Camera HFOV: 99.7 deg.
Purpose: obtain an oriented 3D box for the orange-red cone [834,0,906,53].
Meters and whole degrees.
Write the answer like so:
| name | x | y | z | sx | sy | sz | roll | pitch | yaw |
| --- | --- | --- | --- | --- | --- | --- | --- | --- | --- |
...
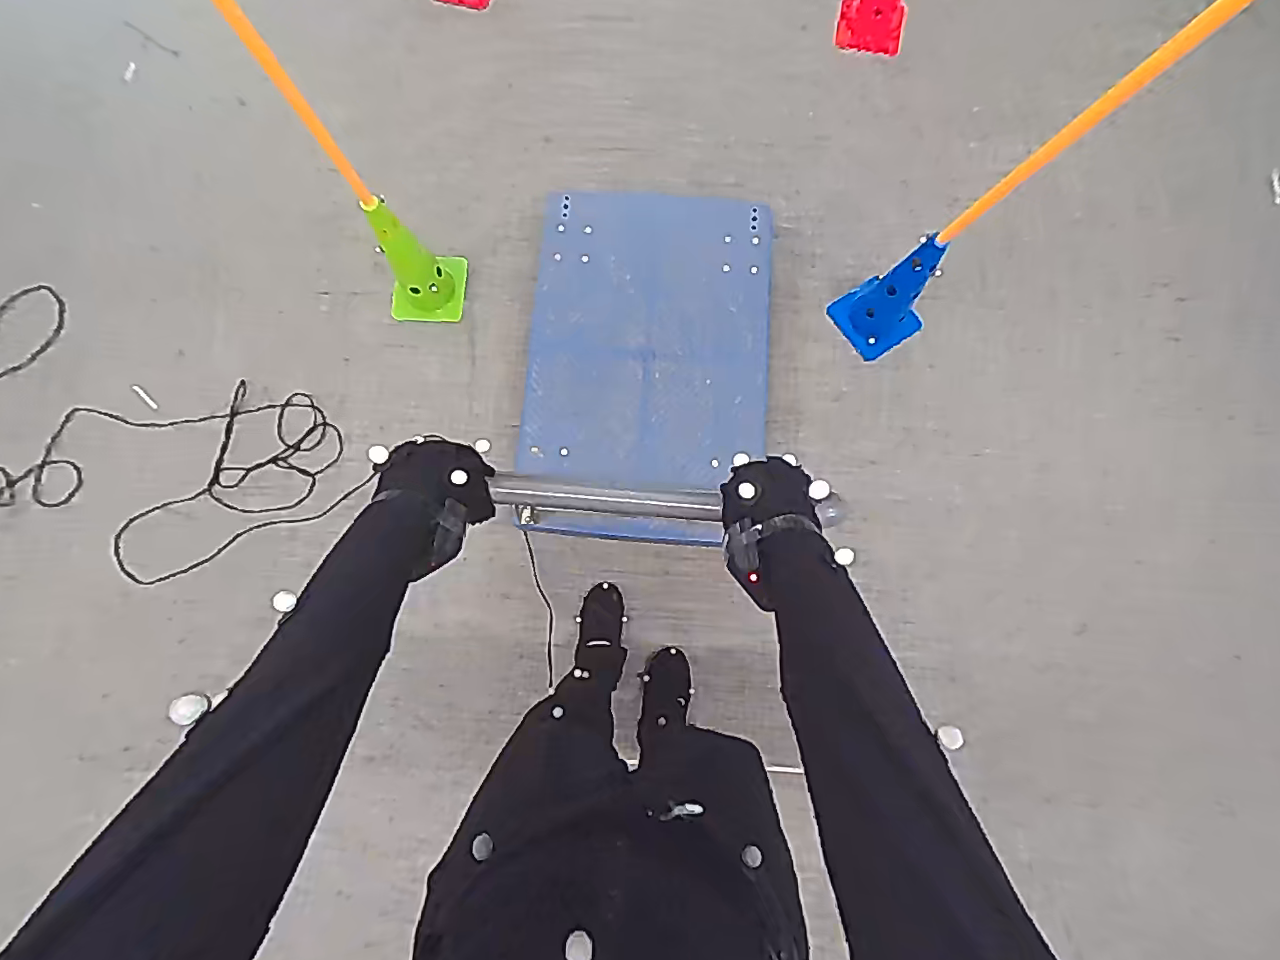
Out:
| name | x | y | z | sx | sy | sz | roll | pitch | yaw |
| --- | --- | --- | --- | --- | --- | --- | --- | --- | --- |
| orange-red cone | 0.705 | -1.442 | 1.503 | 0.198 | 0.360 | 0.199 | 14 | 81 | 5 |
